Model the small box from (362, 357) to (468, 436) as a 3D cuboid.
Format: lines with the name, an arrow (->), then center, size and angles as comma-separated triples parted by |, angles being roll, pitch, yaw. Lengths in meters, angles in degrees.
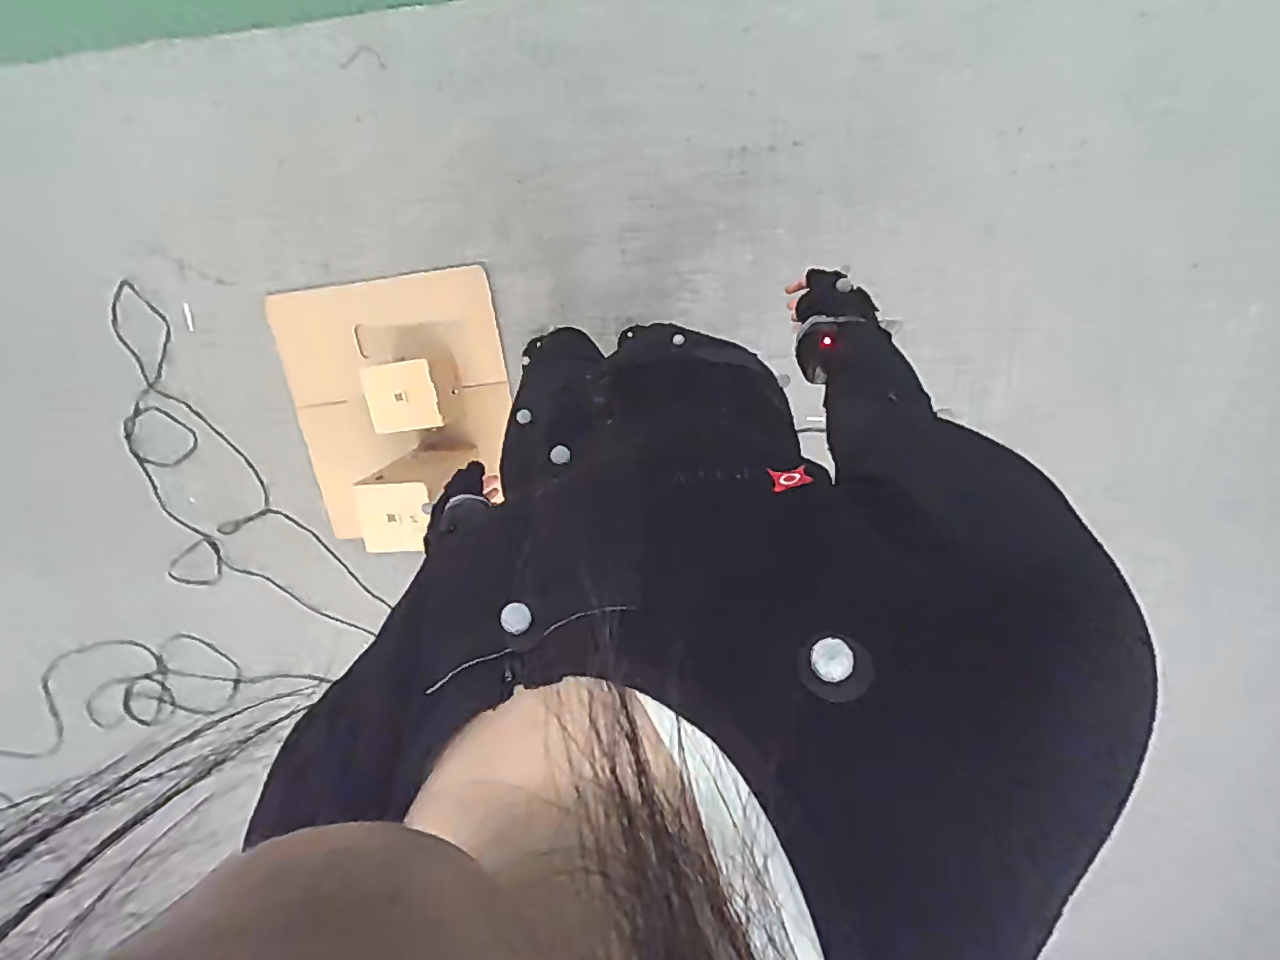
small box -> -0.566, -0.216, 1.382 | 0.179, 0.176, 0.168 | -8, 106, 5

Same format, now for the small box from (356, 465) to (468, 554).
small box -> -0.535, 0.066, 1.293 | 0.179, 0.176, 0.168 | -3, 108, 4
